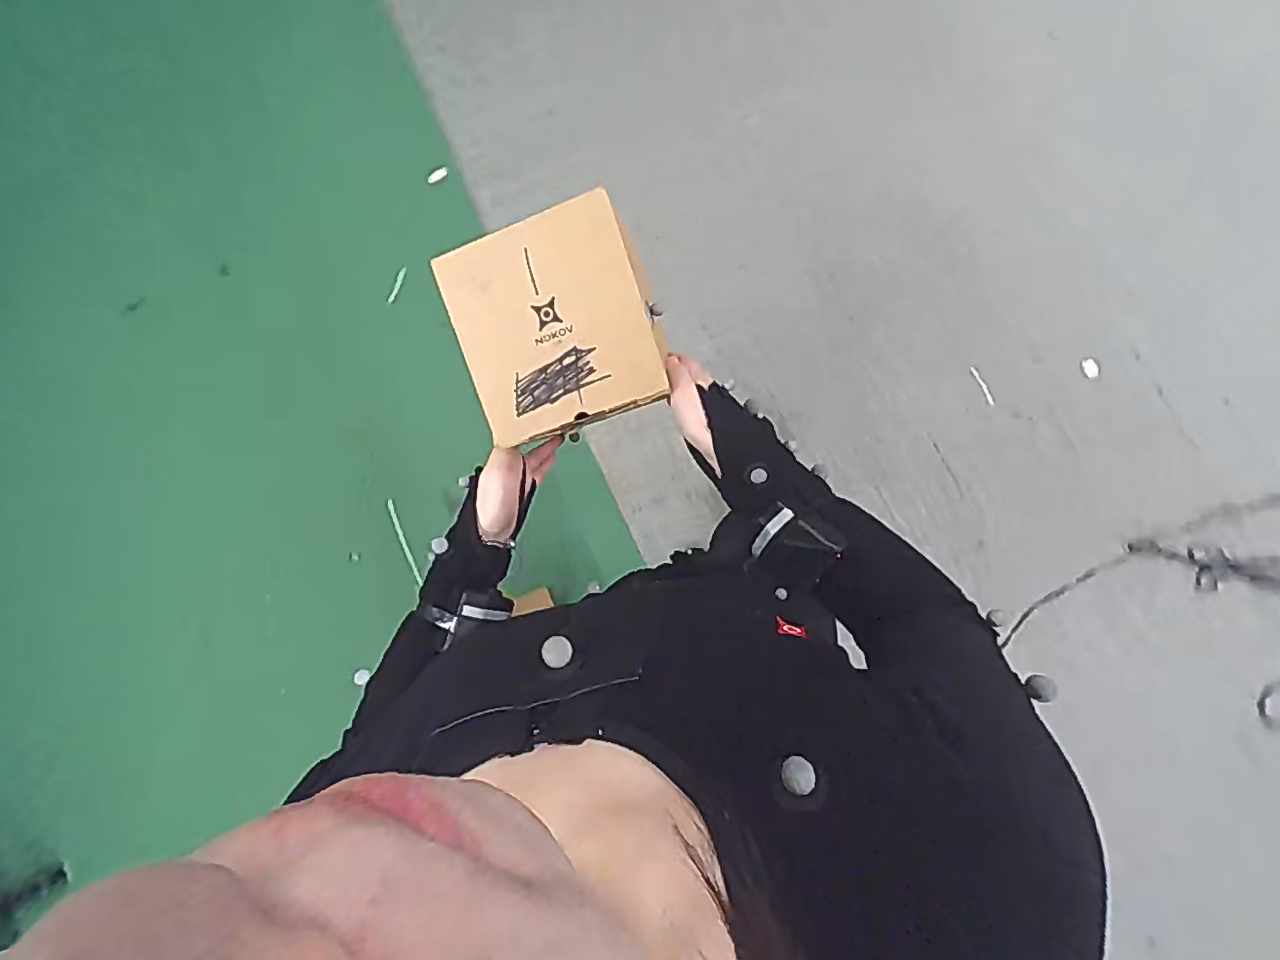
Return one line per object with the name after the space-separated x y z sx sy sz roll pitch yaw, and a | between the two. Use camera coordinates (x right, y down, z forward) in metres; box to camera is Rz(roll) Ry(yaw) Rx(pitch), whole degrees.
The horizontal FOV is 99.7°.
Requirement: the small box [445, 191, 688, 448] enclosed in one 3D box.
-0.055 -0.144 0.535 0.168 0.176 0.179 -16 96 11 | small box

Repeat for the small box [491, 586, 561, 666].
-0.334 0.408 1.494 0.179 0.176 0.168 -26 84 9 | small box

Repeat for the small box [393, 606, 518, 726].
-0.389 0.393 1.170 0.168 0.176 0.179 -23 84 8 | small box
